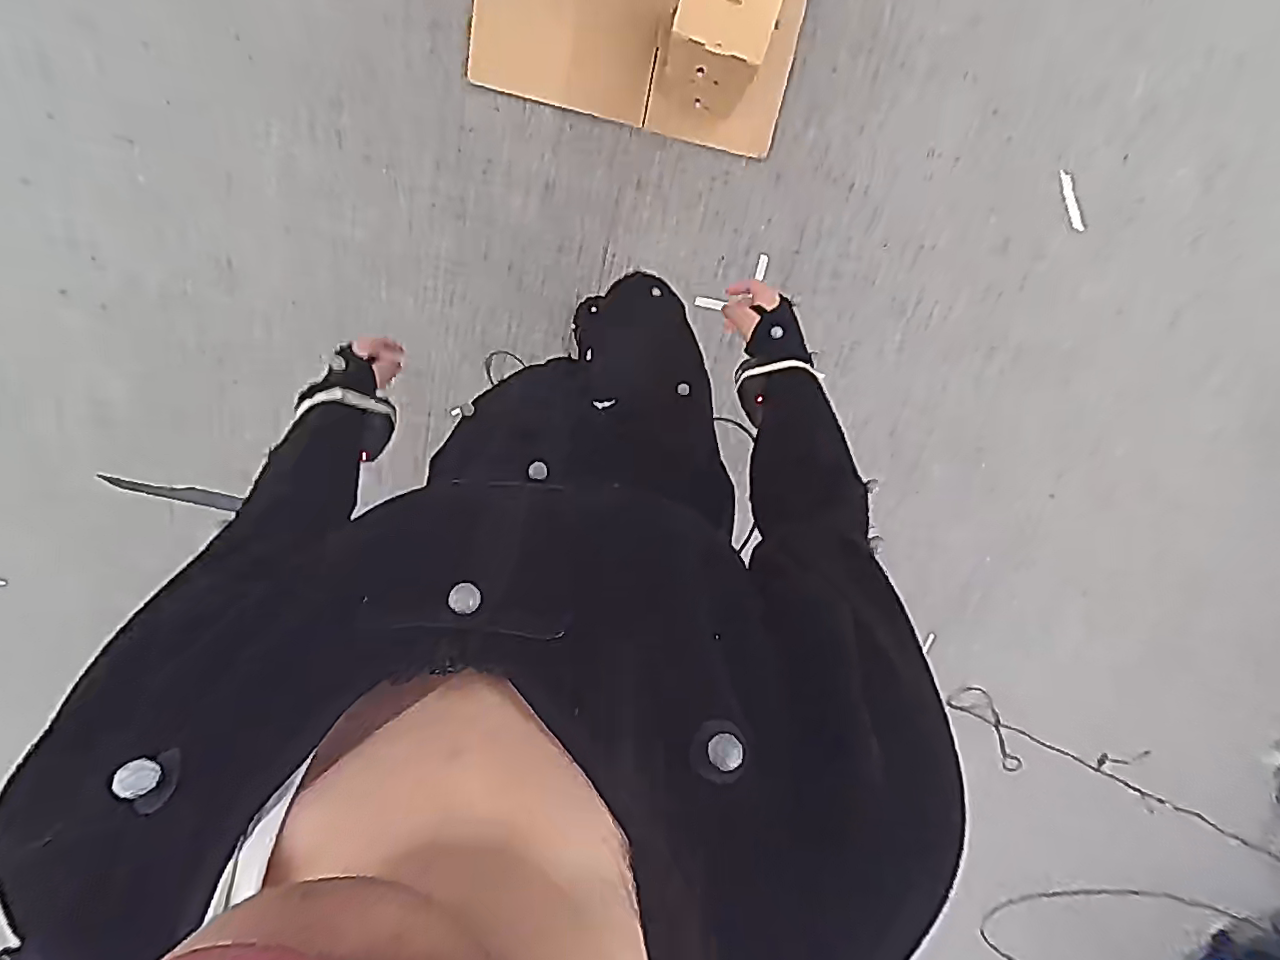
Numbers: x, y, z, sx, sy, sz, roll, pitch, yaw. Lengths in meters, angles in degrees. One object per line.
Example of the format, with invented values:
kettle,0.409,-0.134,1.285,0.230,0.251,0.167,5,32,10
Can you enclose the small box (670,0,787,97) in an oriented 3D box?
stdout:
small box,0.157,-0.828,0.963,0.168,0.176,0.179,15,110,-7
